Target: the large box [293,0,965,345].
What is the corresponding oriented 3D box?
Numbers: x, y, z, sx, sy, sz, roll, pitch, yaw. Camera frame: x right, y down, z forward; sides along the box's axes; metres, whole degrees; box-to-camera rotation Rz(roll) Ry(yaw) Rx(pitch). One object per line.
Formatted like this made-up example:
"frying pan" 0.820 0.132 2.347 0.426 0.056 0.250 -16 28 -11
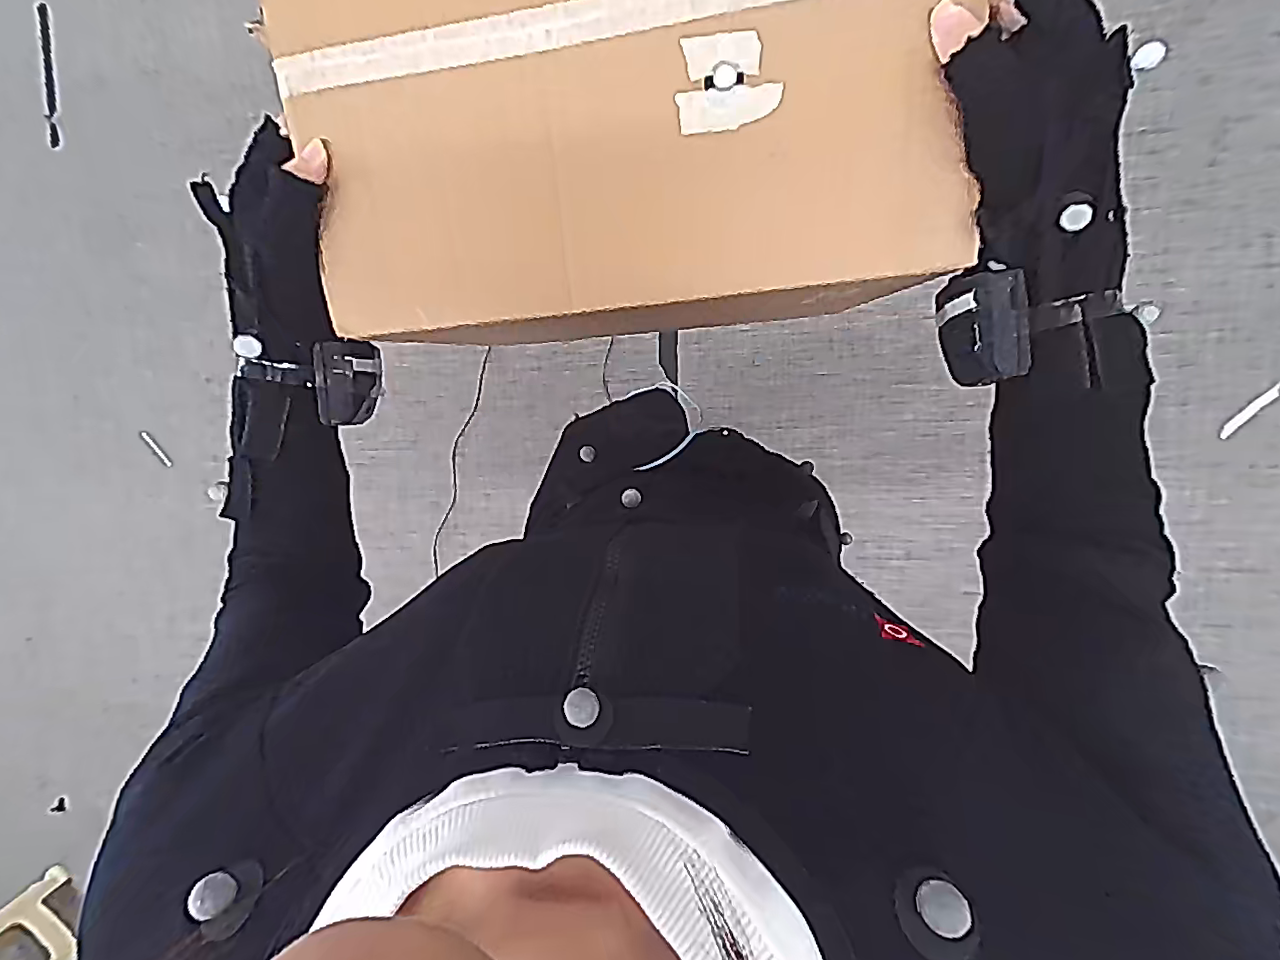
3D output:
"large box" -0.003 -0.301 0.466 0.408 0.320 0.320 -5 103 7
